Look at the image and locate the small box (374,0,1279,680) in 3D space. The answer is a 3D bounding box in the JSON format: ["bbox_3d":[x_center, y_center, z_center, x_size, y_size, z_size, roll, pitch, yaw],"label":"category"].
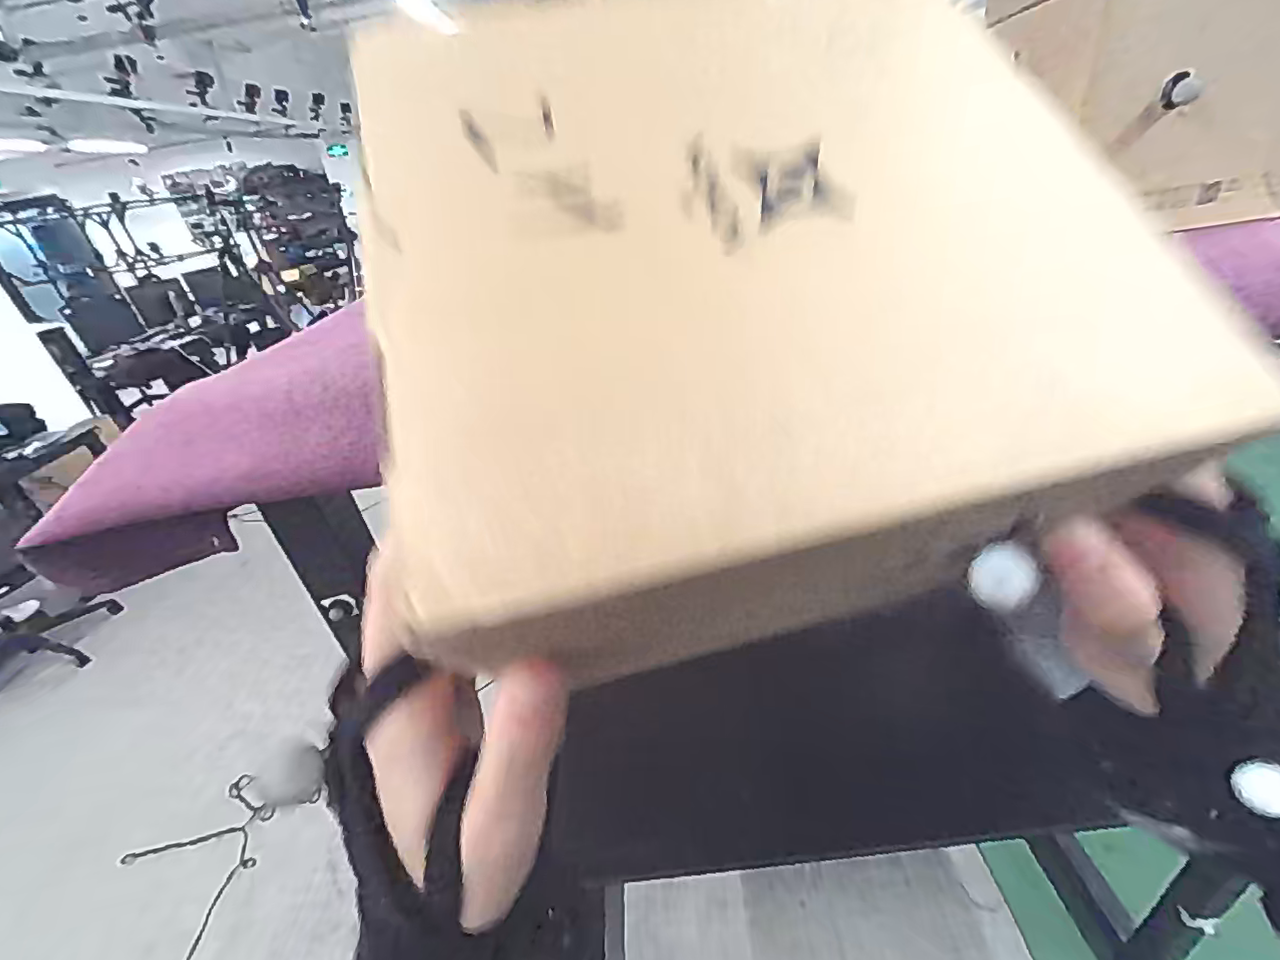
[{"bbox_3d":[0.028,-0.034,0.199,0.179,0.176,0.168,-13,67,-7],"label":"small box"}]
